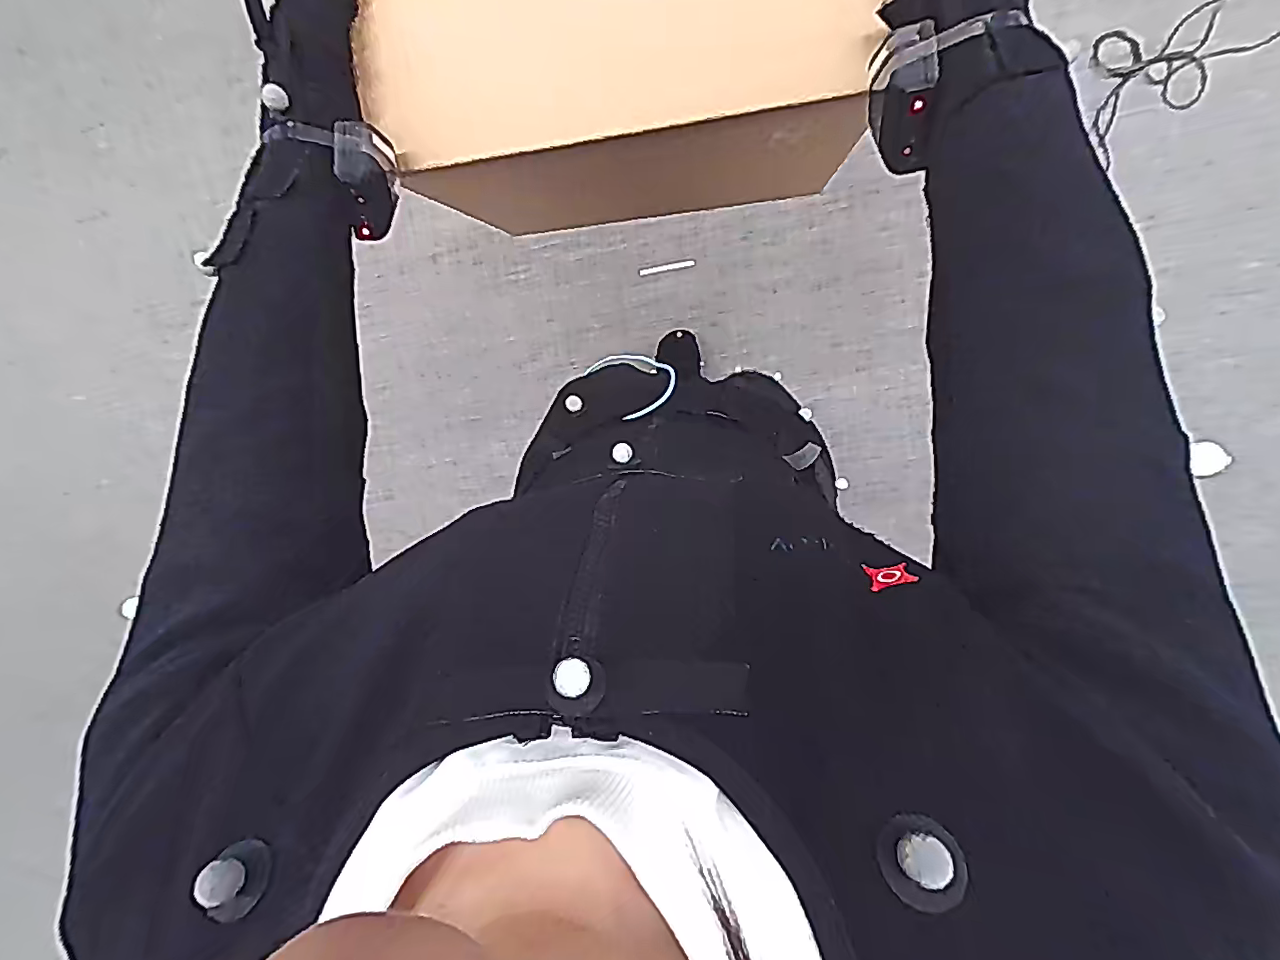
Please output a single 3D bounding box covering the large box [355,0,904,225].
[{"bbox_3d":[-0.010,-0.463,0.516,0.408,0.320,0.320,-4,106,8],"label":"large box"}]
